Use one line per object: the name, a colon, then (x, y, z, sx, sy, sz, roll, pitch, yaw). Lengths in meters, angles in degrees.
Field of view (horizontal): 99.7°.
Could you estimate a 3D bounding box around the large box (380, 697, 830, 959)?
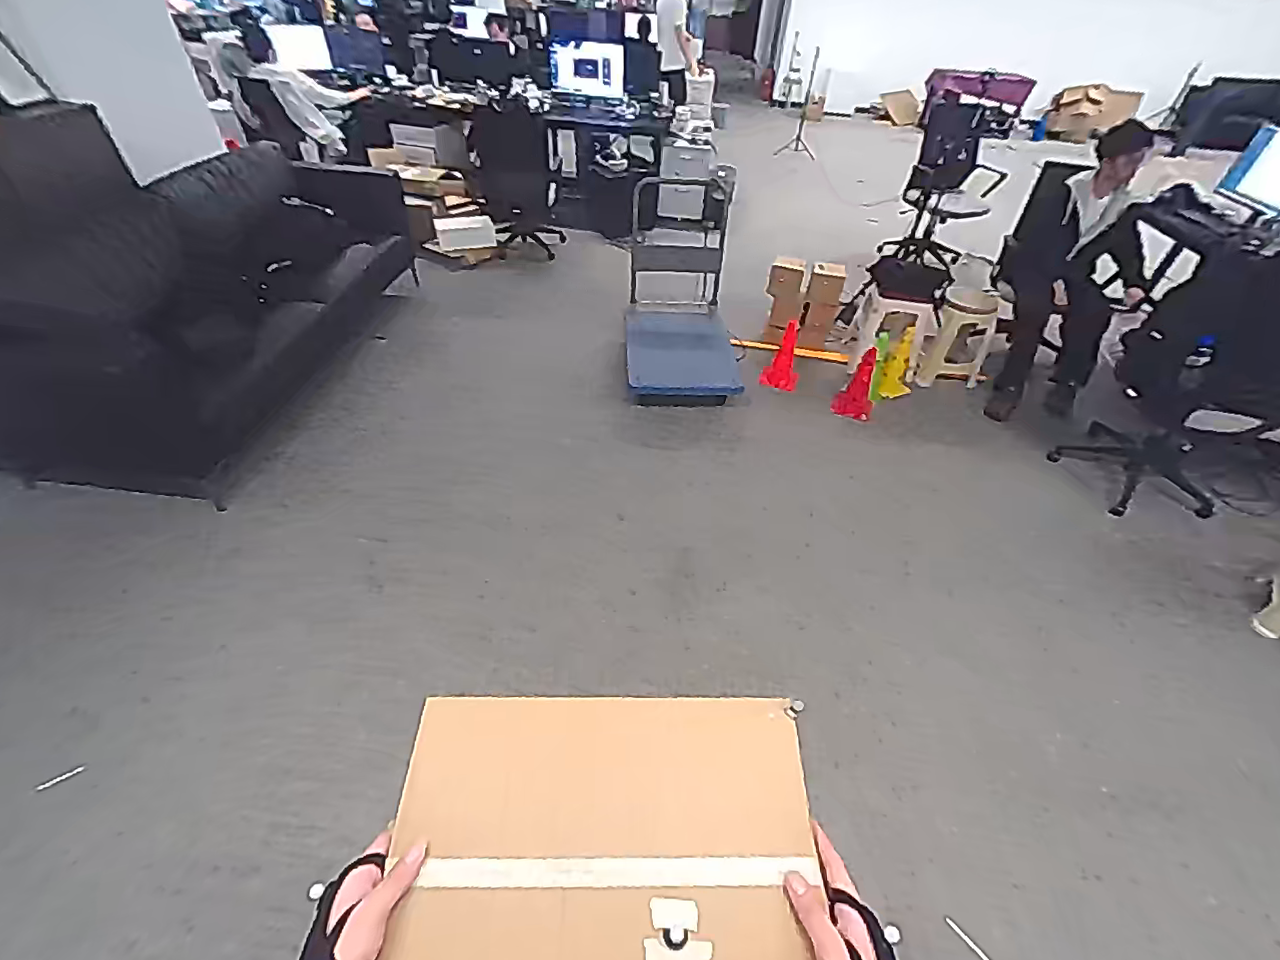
large box: (-0.035, 0.463, 0.632, 0.408, 0.320, 0.320, 0, 52, -1)
